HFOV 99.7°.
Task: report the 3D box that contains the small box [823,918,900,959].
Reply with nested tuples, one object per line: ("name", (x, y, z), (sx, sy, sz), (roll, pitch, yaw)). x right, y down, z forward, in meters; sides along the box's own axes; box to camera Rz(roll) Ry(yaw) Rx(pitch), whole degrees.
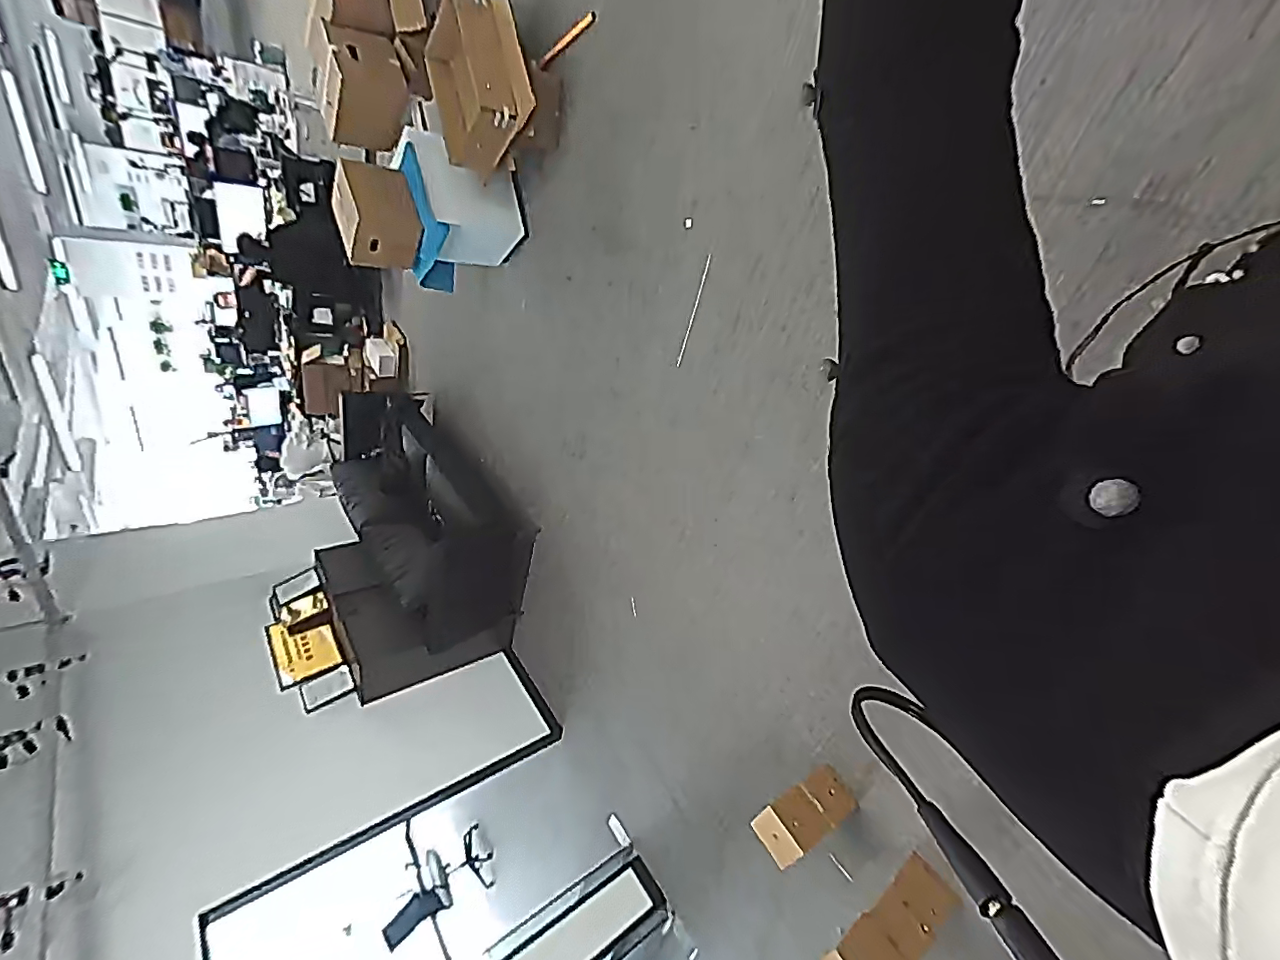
("small box", (0.651, 1.441, 1.572), (0.179, 0.176, 0.168), (43, 129, 37))

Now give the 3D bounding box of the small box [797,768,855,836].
("small box", (0.671, 1.219, 2.022), (0.168, 0.176, 0.179), (51, 133, 32))

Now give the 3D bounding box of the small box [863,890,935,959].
("small box", (0.779, 1.429, 1.676), (0.168, 0.176, 0.179), (42, 130, 38))

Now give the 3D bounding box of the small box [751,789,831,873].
("small box", (0.538, 1.243, 1.930), (0.179, 0.176, 0.168), (48, 133, 32))
